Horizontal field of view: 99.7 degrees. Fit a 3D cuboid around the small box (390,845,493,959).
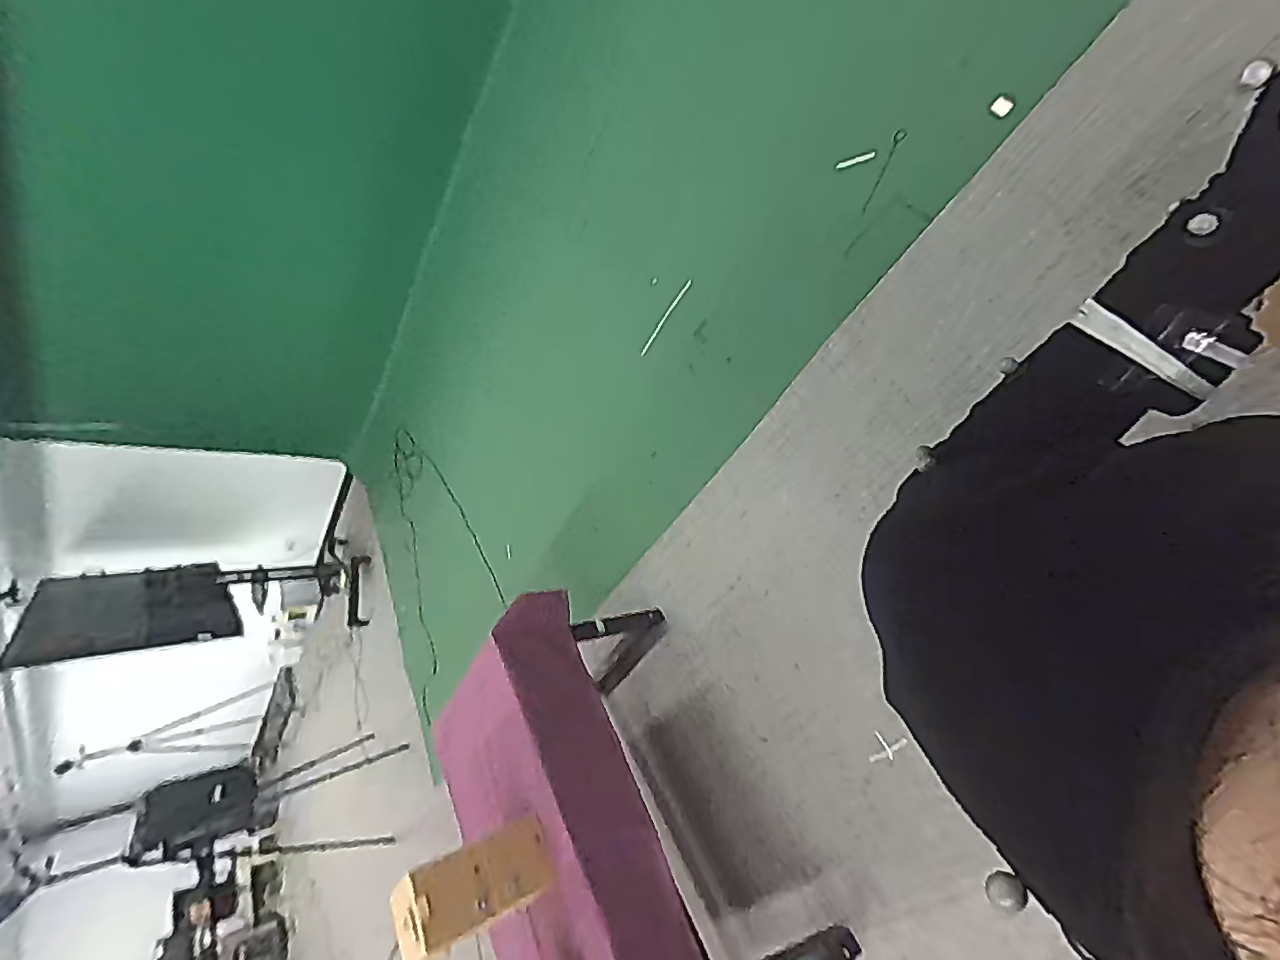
[{"bbox_3d":[-0.462,0.999,1.266,0.179,0.176,0.168,-56,51,31],"label":"small box"}]
